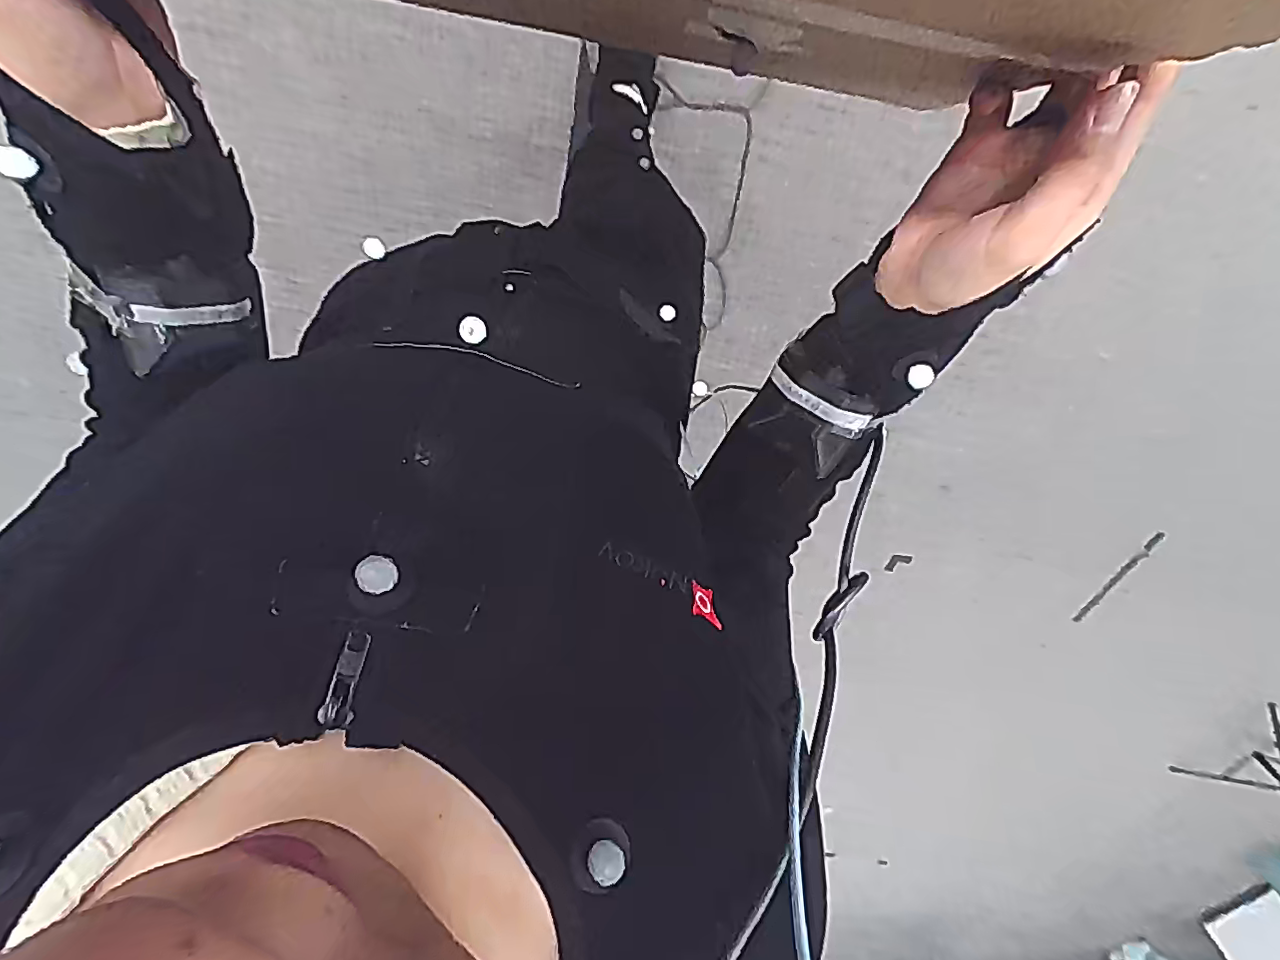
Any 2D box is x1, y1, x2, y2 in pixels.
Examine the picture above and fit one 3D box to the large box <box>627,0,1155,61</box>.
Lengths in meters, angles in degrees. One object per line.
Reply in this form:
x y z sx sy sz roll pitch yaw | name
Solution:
0.009 -0.325 0.097 0.408 0.320 0.320 6 121 -6 | large box
